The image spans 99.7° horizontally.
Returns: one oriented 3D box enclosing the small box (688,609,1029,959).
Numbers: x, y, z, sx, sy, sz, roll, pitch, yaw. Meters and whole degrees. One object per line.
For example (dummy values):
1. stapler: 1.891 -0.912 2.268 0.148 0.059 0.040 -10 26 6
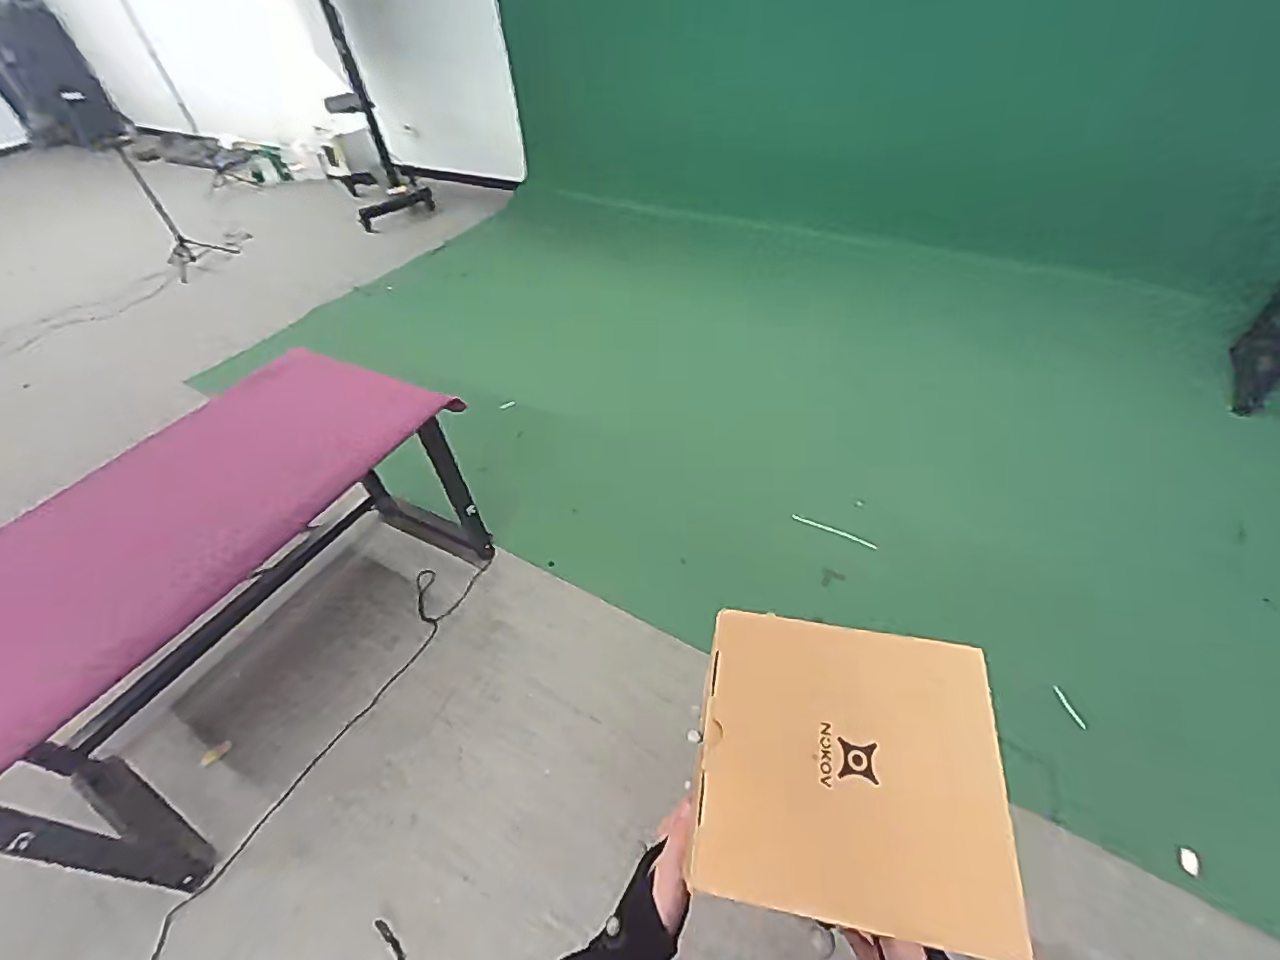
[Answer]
1. small box: 0.133 0.213 0.396 0.179 0.176 0.168 6 56 9
